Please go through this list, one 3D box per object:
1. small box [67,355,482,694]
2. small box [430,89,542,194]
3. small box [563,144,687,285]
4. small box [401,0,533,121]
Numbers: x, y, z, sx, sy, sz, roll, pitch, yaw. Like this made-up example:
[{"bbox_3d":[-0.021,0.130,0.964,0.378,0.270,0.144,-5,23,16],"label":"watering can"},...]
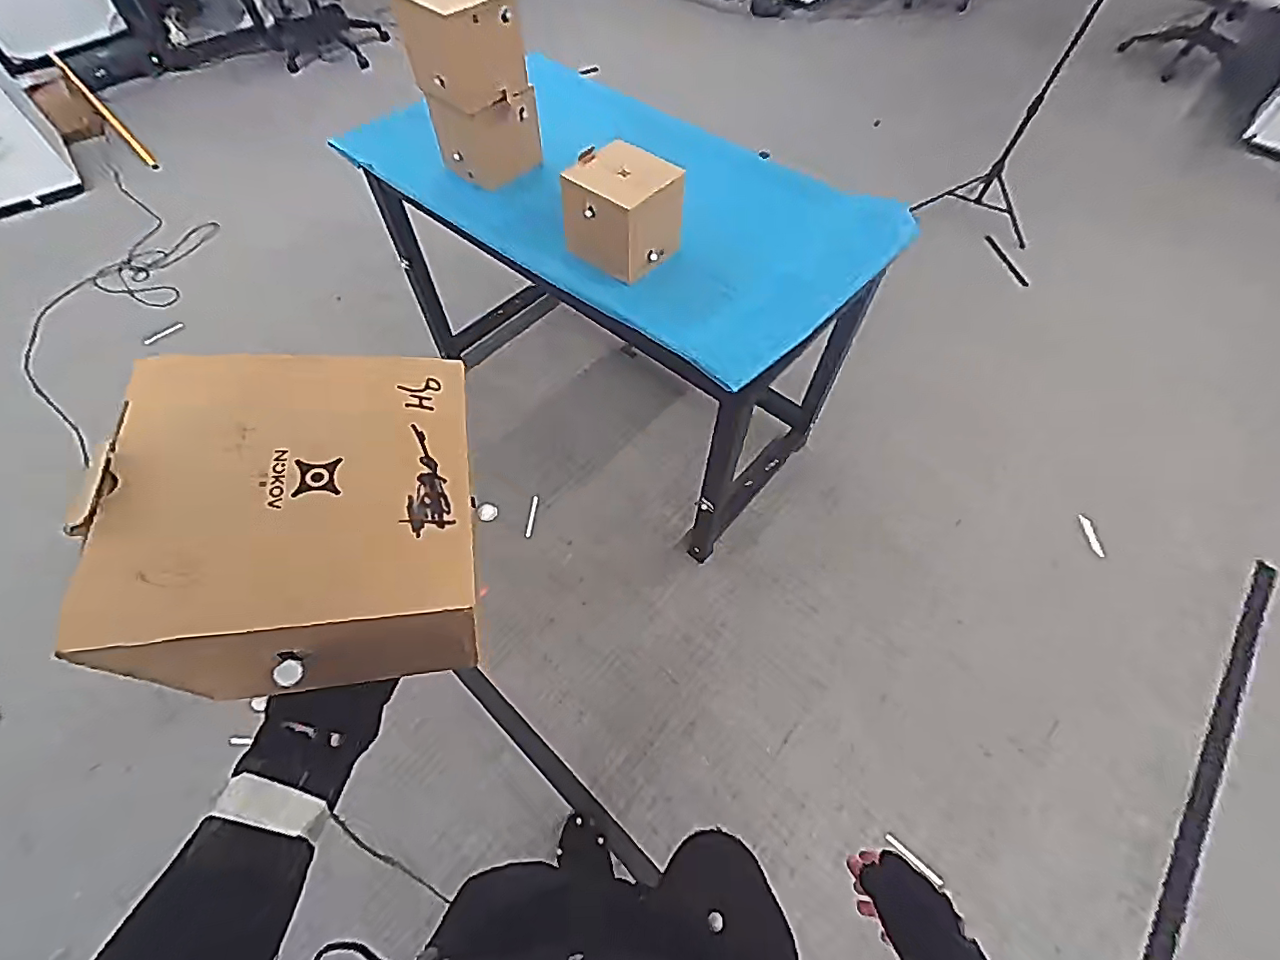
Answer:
[{"bbox_3d":[-0.206,0.035,0.366,0.179,0.176,0.168,-5,63,-18],"label":"small box"},{"bbox_3d":[-0.342,-0.796,1.238,0.168,0.176,0.179,39,68,22],"label":"small box"},{"bbox_3d":[-0.028,-0.521,1.070,0.179,0.176,0.168,37,65,20],"label":"small box"},{"bbox_3d":[-0.347,-0.873,1.090,0.179,0.176,0.168,38,65,20],"label":"small box"}]
